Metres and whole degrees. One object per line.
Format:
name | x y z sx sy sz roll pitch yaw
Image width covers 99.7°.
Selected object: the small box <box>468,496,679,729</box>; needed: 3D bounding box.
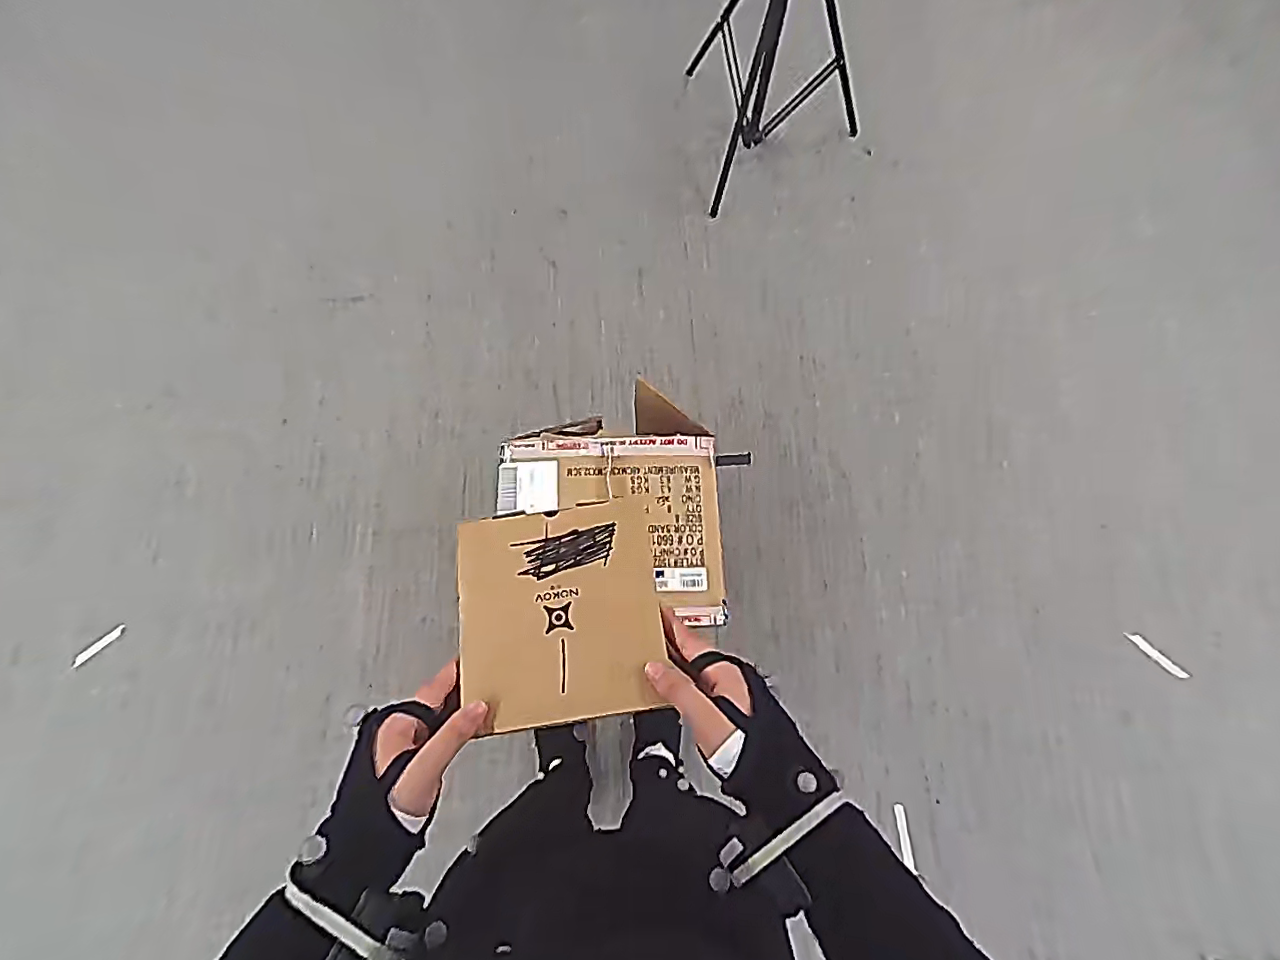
small box | -0.059 0.134 0.521 0.168 0.176 0.179 -8 67 -1
